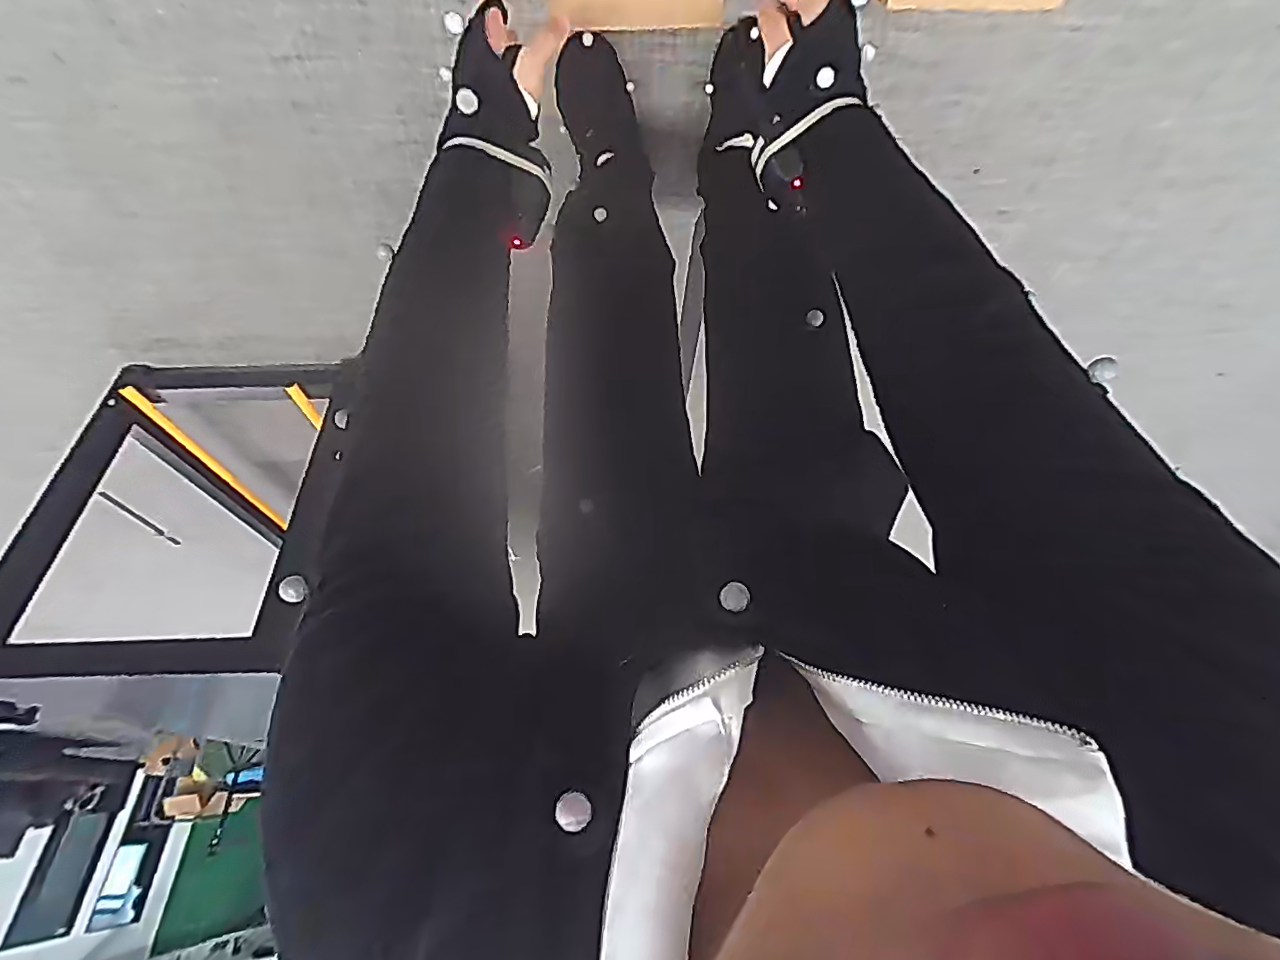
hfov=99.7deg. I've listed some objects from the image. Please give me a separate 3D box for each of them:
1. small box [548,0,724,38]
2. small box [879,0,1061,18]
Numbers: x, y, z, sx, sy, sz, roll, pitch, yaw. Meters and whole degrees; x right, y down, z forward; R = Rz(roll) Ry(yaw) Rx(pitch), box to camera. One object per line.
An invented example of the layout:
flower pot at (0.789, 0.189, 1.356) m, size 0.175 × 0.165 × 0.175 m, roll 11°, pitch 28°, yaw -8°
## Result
small box at (-0.006, -0.540, 0.487) m, size 0.168 × 0.176 × 0.179 m, roll -1°, pitch 149°, yaw 0°
small box at (0.309, -0.555, 0.491) m, size 0.179 × 0.176 × 0.168 m, roll -2°, pitch 148°, yaw -4°
